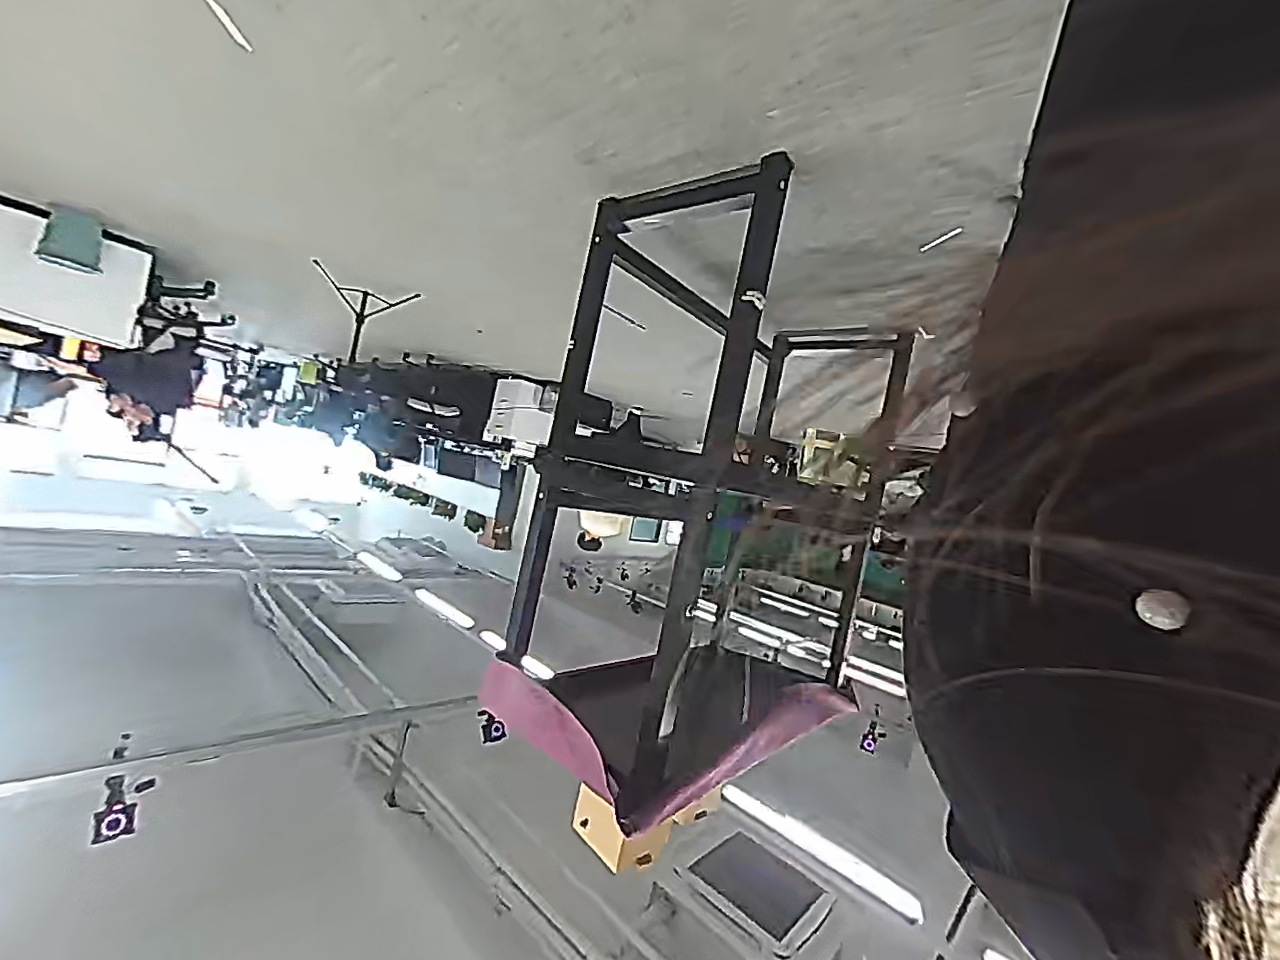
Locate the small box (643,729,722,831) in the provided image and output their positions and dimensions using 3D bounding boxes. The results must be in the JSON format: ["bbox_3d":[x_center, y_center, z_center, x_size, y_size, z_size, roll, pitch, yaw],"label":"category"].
[{"bbox_3d":[0.114,0.835,1.524,0.179,0.176,0.168,12,180,44],"label":"small box"}]

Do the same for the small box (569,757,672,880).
[{"bbox_3d":[-0.044,0.806,1.314,0.168,0.176,0.179,10,-178,-43],"label":"small box"}]
